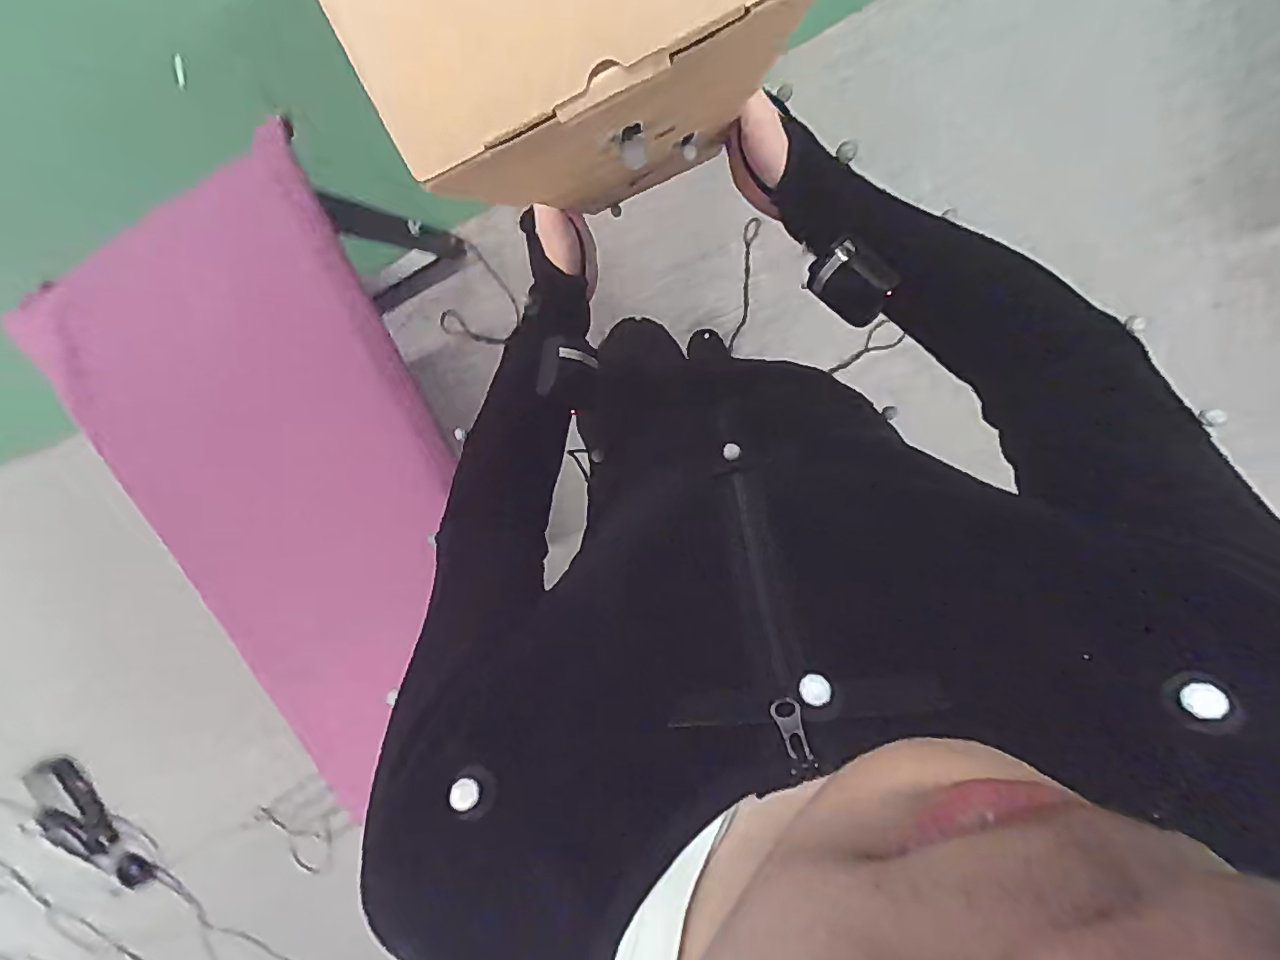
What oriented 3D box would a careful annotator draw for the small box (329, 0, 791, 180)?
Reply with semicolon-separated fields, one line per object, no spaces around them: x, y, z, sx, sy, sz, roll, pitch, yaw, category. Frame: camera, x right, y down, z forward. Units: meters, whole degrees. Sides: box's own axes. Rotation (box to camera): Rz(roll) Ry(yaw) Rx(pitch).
-0.039;-0.252;0.235;0.168;0.176;0.179;-19;113;11;small box

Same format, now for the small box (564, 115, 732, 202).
-0.016;-0.393;0.529;0.168;0.176;0.179;-19;111;13;small box

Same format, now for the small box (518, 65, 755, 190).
-0.028;-0.324;0.381;0.168;0.176;0.179;-18;111;11;small box
